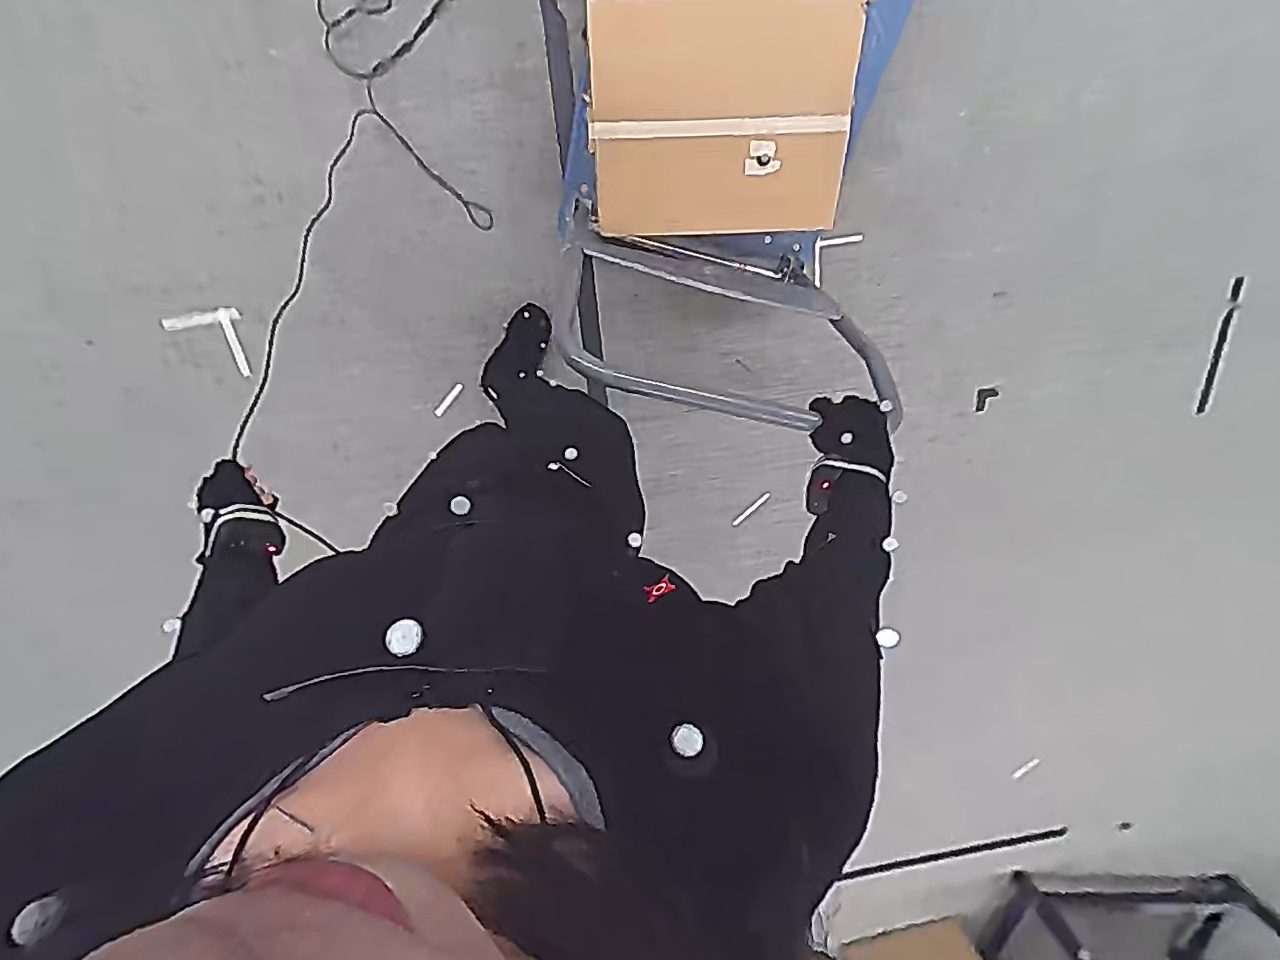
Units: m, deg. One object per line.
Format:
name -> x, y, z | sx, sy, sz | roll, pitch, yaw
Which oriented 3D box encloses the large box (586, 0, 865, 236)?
large box -> 0.119, -0.640, 0.968 | 0.408, 0.320, 0.320 | -3, 125, -3
